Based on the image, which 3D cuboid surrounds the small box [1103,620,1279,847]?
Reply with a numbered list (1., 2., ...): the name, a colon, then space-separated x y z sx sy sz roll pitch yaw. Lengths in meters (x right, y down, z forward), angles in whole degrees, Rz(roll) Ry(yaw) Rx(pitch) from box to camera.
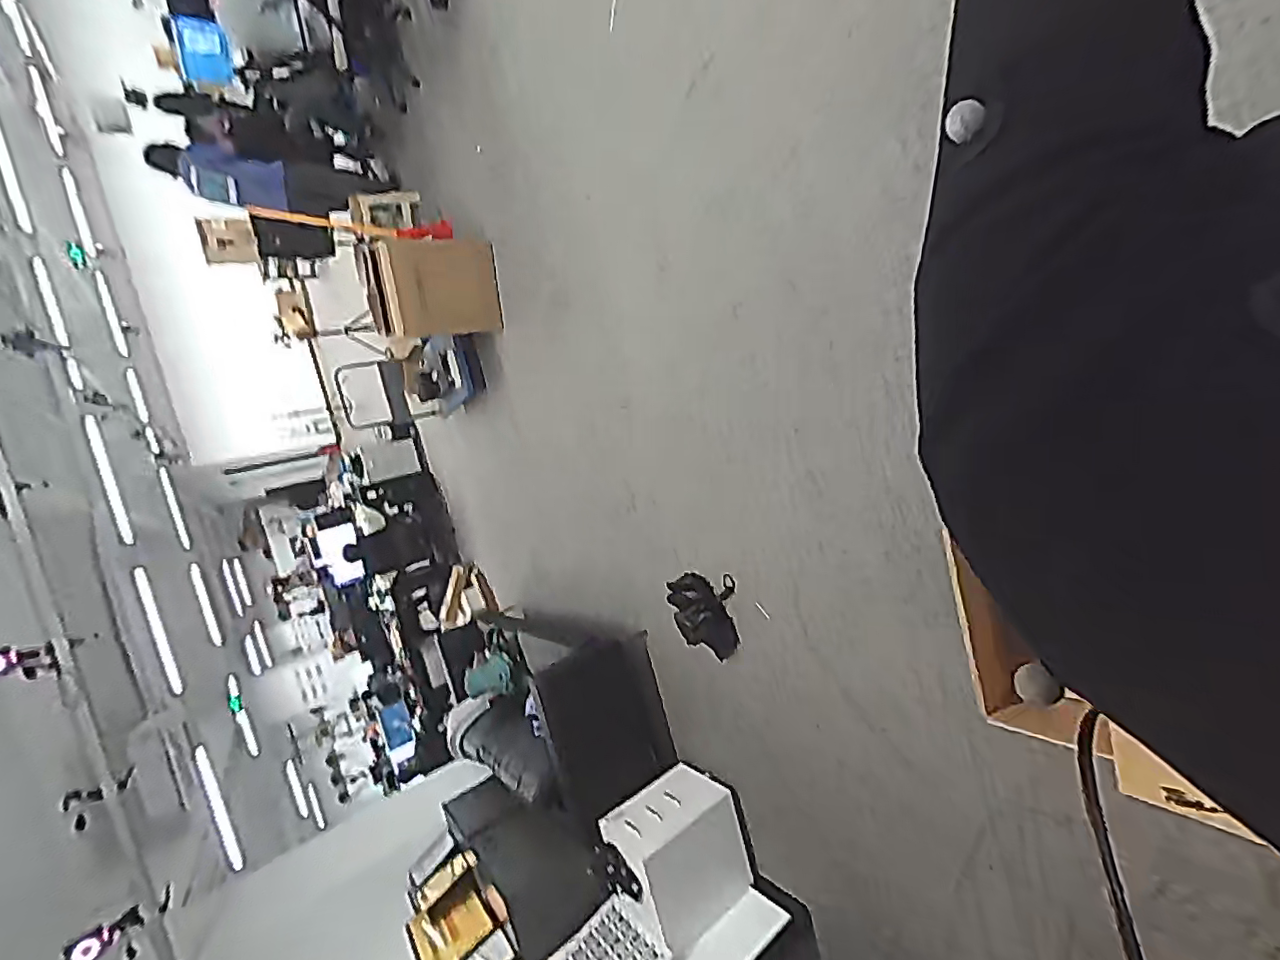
1. small box: 0.703 0.290 0.656 0.168 0.176 0.179 -1 103 59
